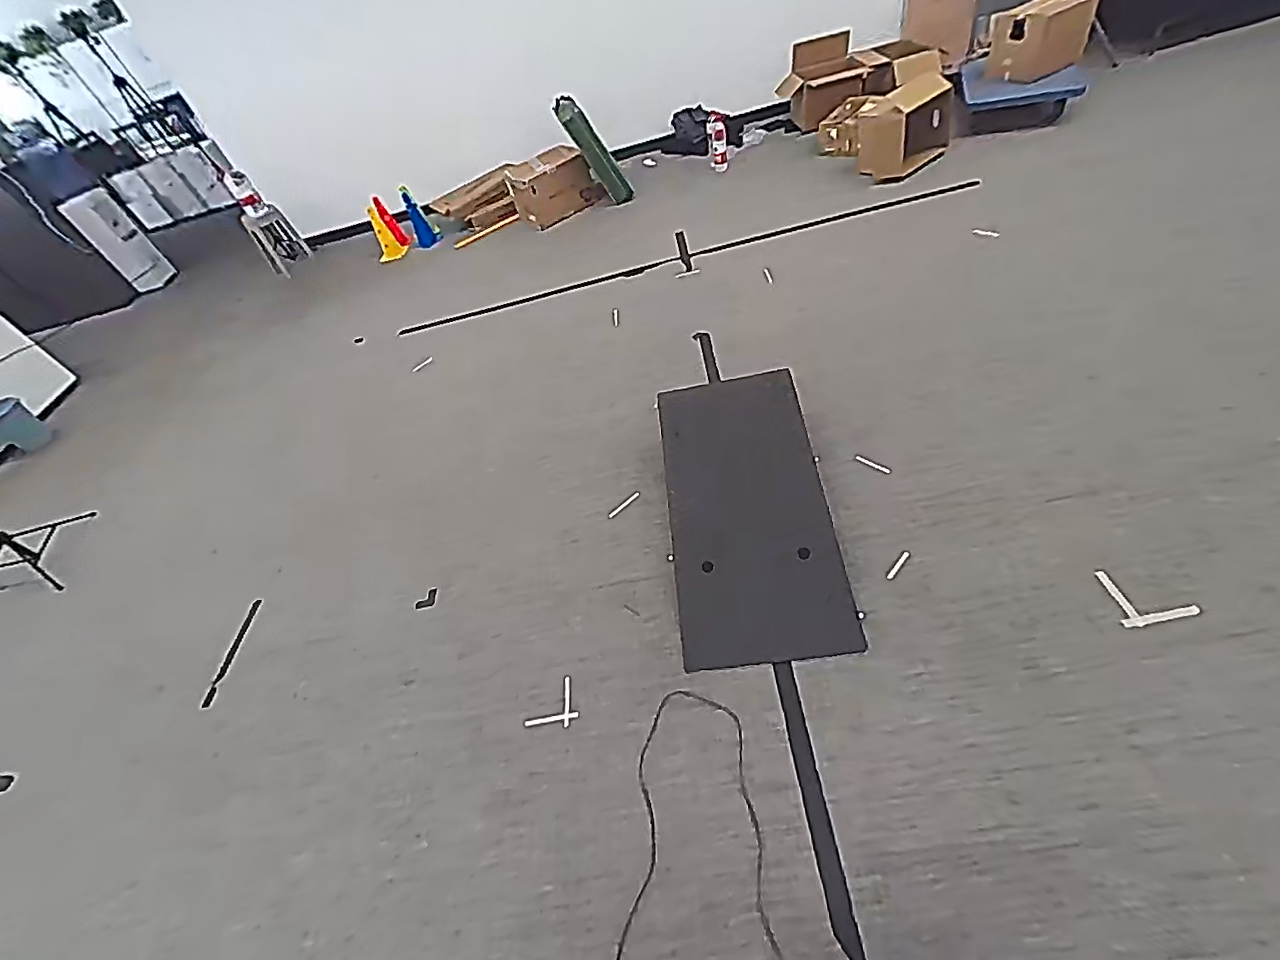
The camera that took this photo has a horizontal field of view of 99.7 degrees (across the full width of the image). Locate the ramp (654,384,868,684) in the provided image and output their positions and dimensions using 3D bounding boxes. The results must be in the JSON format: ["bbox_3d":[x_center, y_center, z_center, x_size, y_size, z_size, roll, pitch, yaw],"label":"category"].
[{"bbox_3d":[0.333,0.109,1.739,0.509,0.206,0.991,-12,46,6],"label":"ramp"}]
